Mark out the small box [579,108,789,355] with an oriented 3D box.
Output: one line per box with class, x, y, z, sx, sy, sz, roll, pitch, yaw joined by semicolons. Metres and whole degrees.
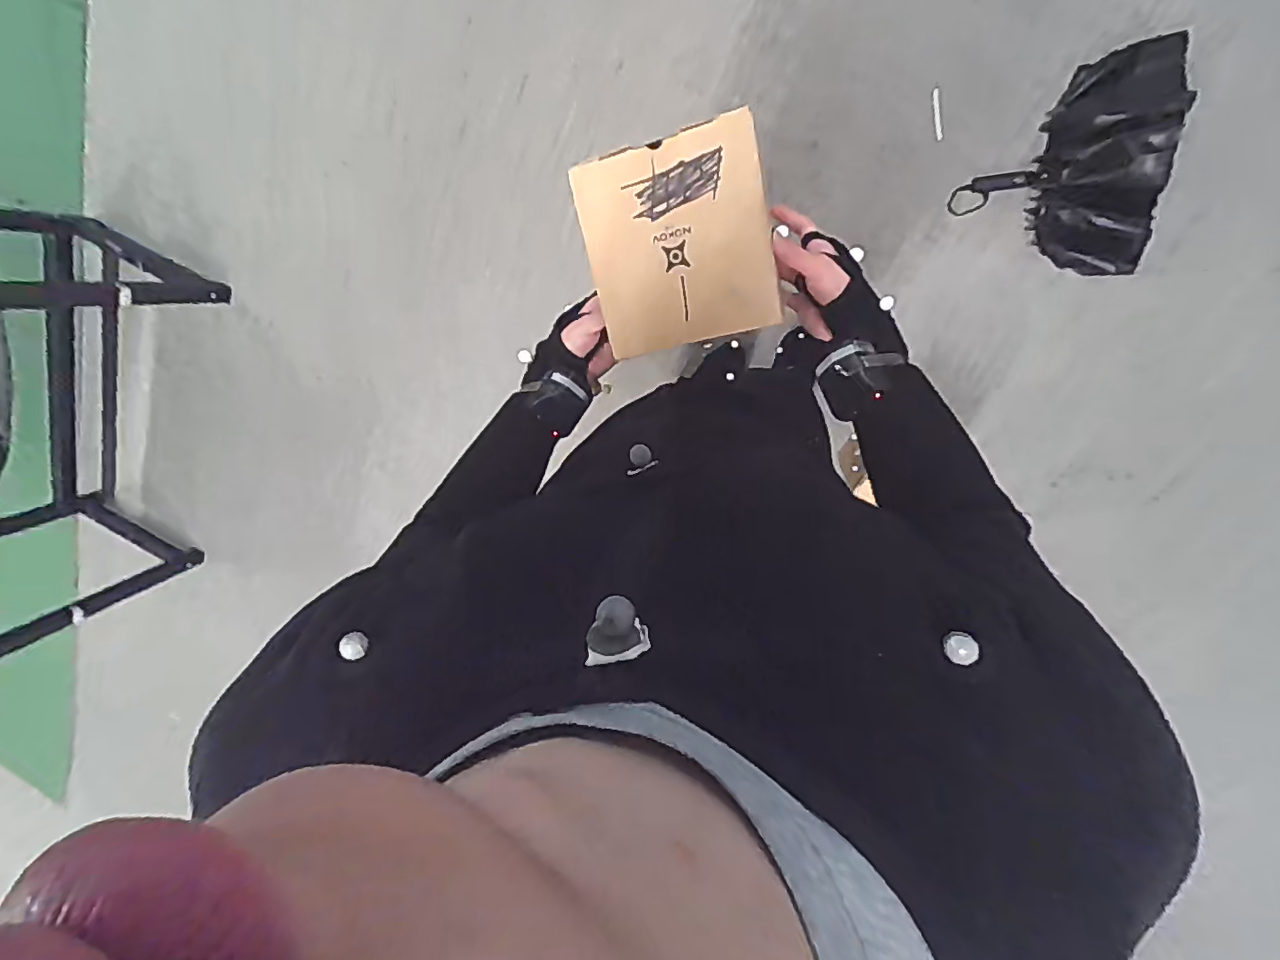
small box;0.058;-0.241;0.560;0.168;0.176;0.179;-8;109;18
